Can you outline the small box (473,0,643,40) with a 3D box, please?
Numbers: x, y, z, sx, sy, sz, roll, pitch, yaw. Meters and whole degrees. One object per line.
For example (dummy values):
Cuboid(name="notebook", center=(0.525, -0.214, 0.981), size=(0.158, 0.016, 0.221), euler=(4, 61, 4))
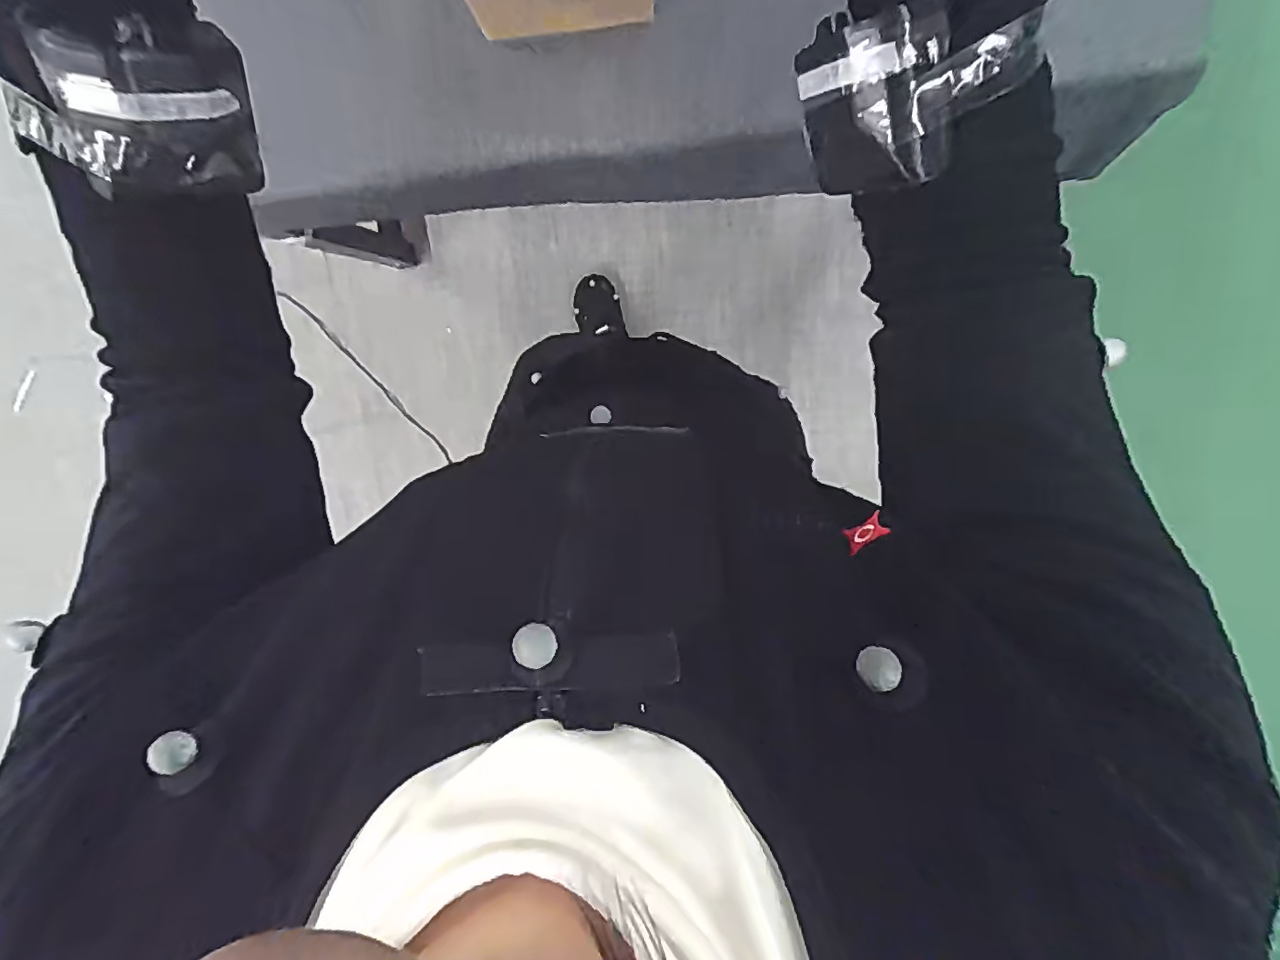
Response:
Cuboid(name="small box", center=(-0.081, -0.526, 0.465), size=(0.179, 0.176, 0.168), euler=(-9, 105, 3))
